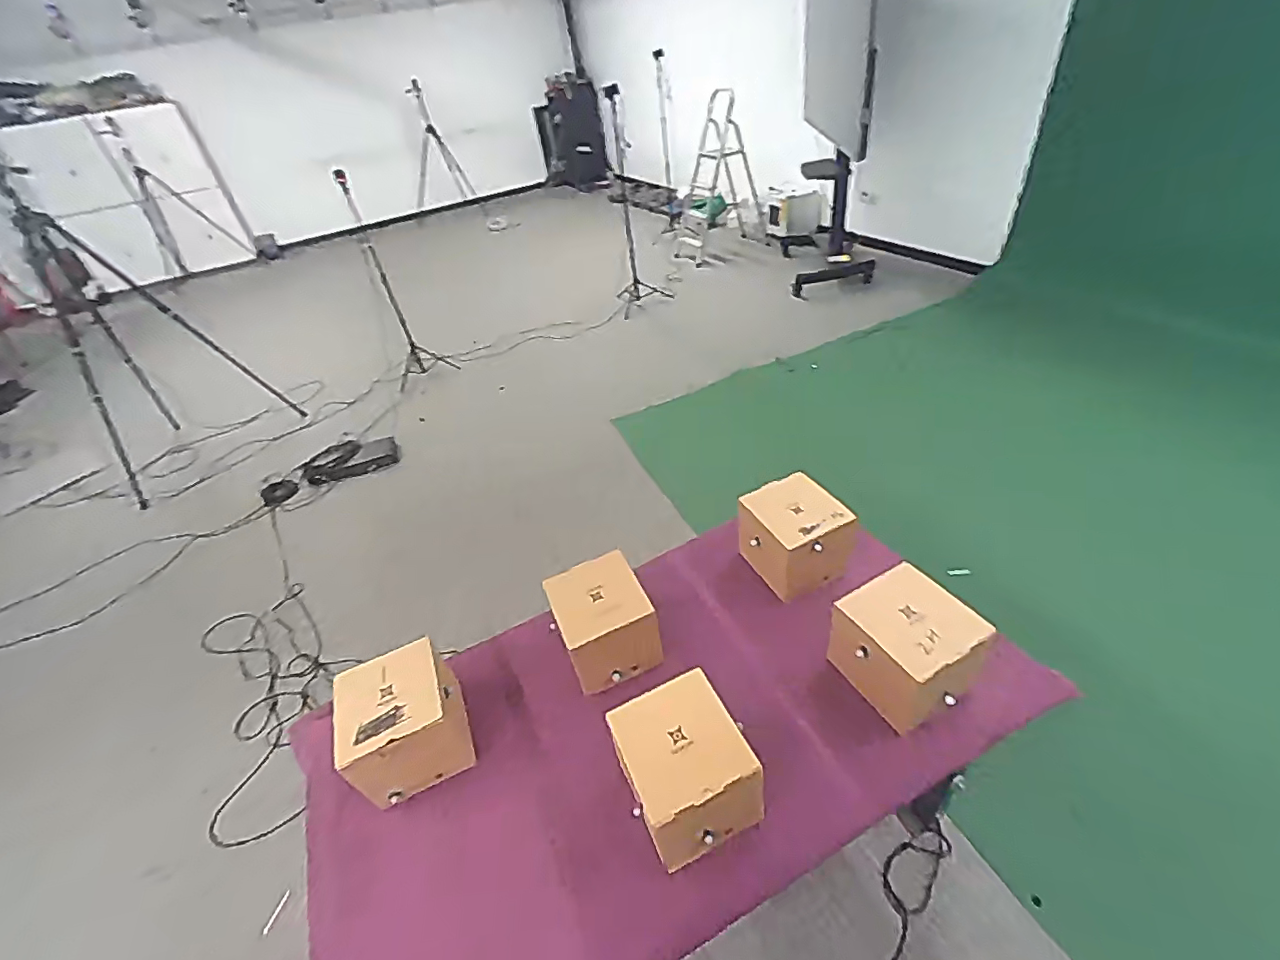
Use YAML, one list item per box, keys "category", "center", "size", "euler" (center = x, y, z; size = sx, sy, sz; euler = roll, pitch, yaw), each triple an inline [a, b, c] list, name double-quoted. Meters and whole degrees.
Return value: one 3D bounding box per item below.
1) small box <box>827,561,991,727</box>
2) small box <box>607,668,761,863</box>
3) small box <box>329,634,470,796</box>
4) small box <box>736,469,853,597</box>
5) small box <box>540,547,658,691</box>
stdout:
- category: "small box"
  center: [0.442, 0.279, 0.922]
  size: [0.168, 0.176, 0.179]
  euler: [-24, 42, -15]
- category: "small box"
  center: [0.064, 0.430, 0.820]
  size: [0.168, 0.176, 0.179]
  euler: [-21, 41, -15]
- category: "small box"
  center: [-0.408, 0.407, 0.927]
  size: [0.168, 0.176, 0.179]
  euler: [-21, 42, -15]
- category: "small box"
  center: [0.318, 0.112, 1.145]
  size: [0.168, 0.176, 0.179]
  euler: [-22, 42, -14]
- category: "small box"
  center: [-0.076, 0.266, 1.039]
  size: [0.168, 0.176, 0.179]
  euler: [-21, 43, -13]
